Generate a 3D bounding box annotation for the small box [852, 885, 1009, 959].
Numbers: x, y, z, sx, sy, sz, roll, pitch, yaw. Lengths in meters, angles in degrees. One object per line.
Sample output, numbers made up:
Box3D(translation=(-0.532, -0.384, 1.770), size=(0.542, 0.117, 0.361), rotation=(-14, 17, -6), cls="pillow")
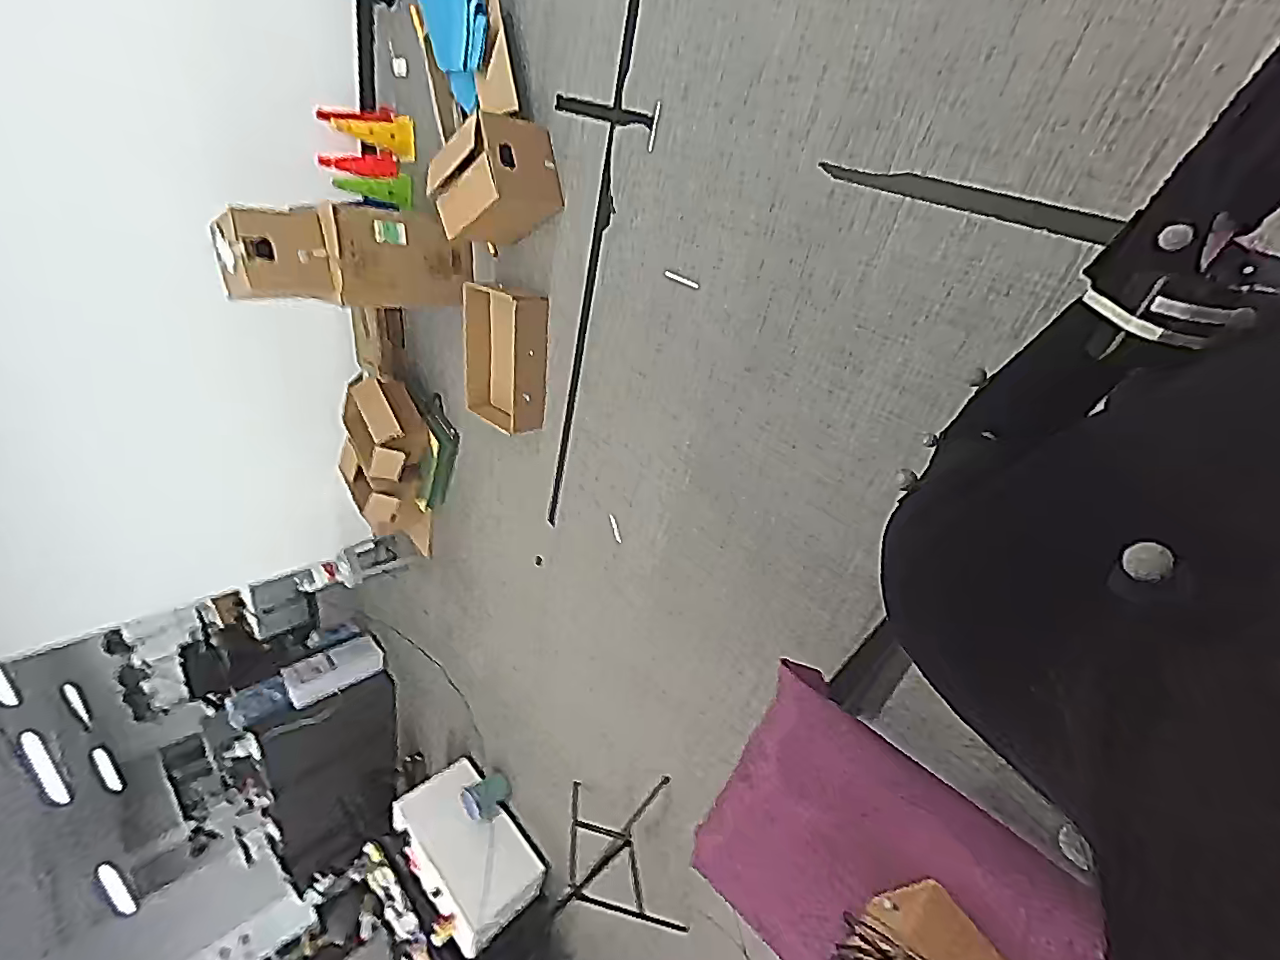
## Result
Box3D(translation=(0.465, 0.788, 0.842), size=(0.179, 0.176, 0.168), rotation=(49, 133, 23), cls="small box")
